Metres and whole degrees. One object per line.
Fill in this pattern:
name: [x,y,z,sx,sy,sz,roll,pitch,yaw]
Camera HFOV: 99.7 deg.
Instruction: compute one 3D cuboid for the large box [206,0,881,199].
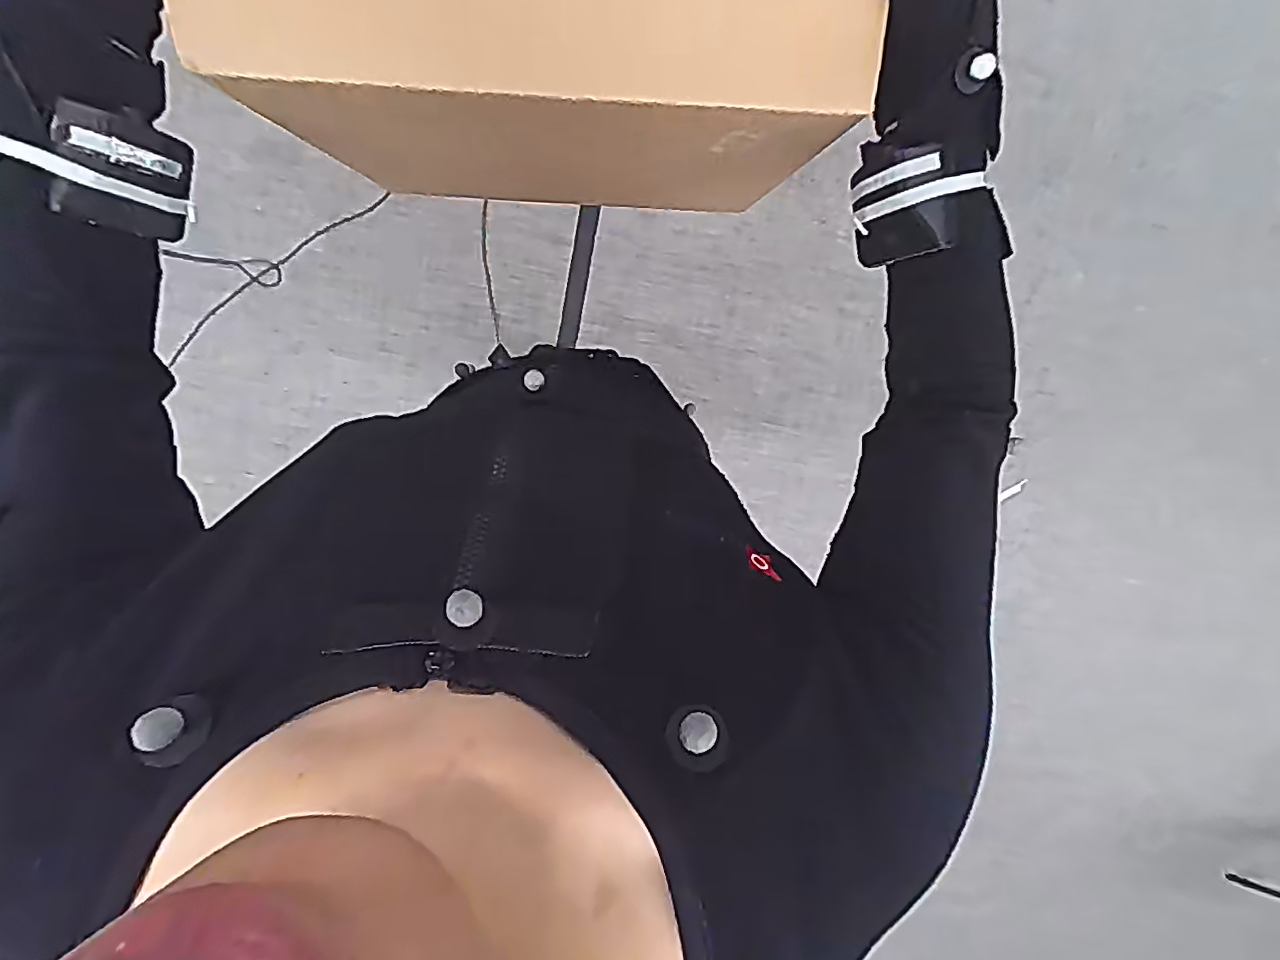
large box: [-0.060,-0.428,0.431,0.408,0.320,0.320,0,107,-5]
